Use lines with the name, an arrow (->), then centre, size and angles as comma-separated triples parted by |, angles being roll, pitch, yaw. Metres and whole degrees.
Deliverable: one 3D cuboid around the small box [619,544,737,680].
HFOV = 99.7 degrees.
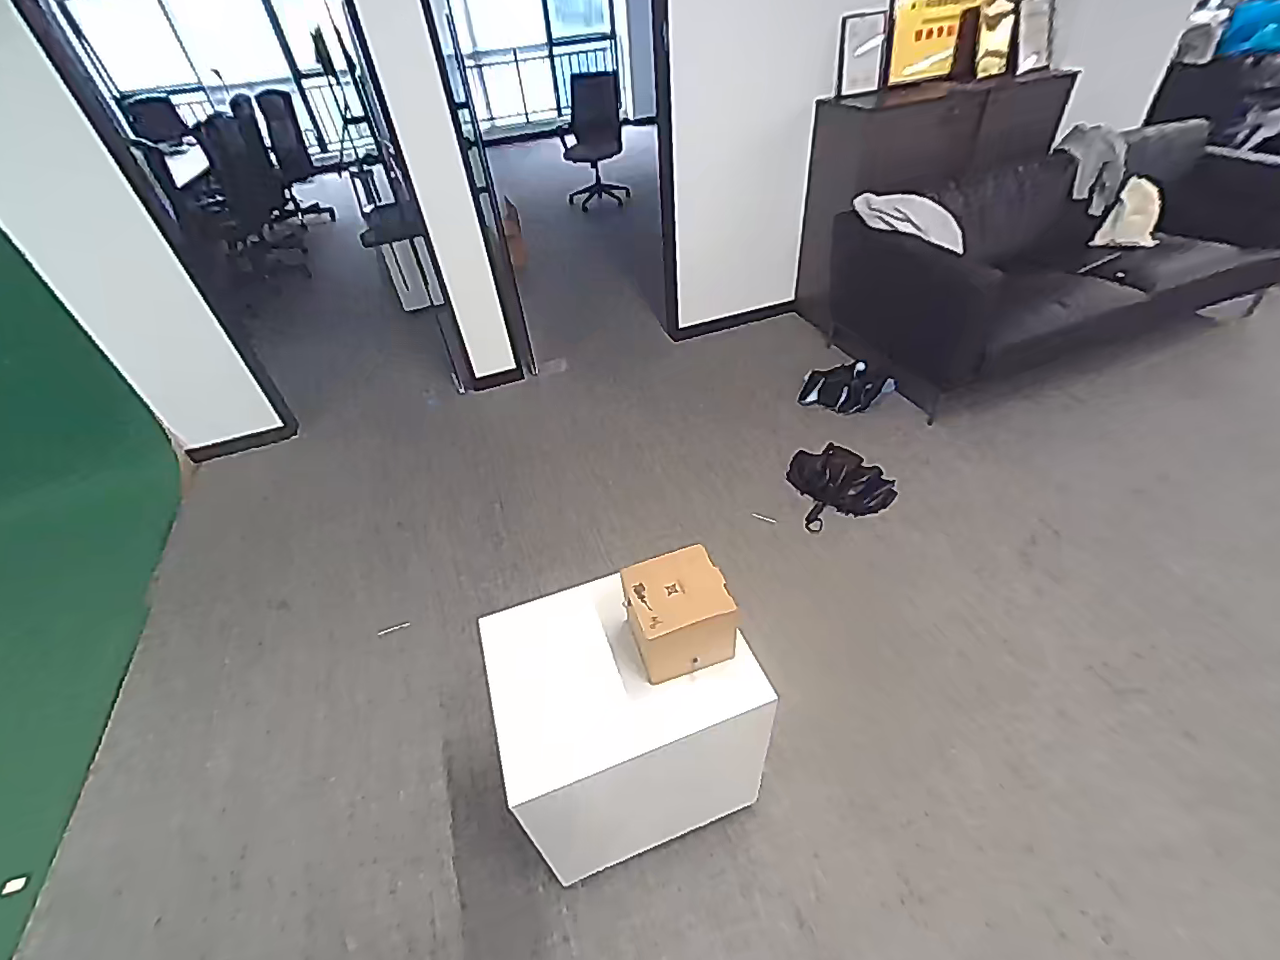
small box -> 0.068, 0.256, 1.046 | 0.179, 0.176, 0.168 | -15, 44, -12
